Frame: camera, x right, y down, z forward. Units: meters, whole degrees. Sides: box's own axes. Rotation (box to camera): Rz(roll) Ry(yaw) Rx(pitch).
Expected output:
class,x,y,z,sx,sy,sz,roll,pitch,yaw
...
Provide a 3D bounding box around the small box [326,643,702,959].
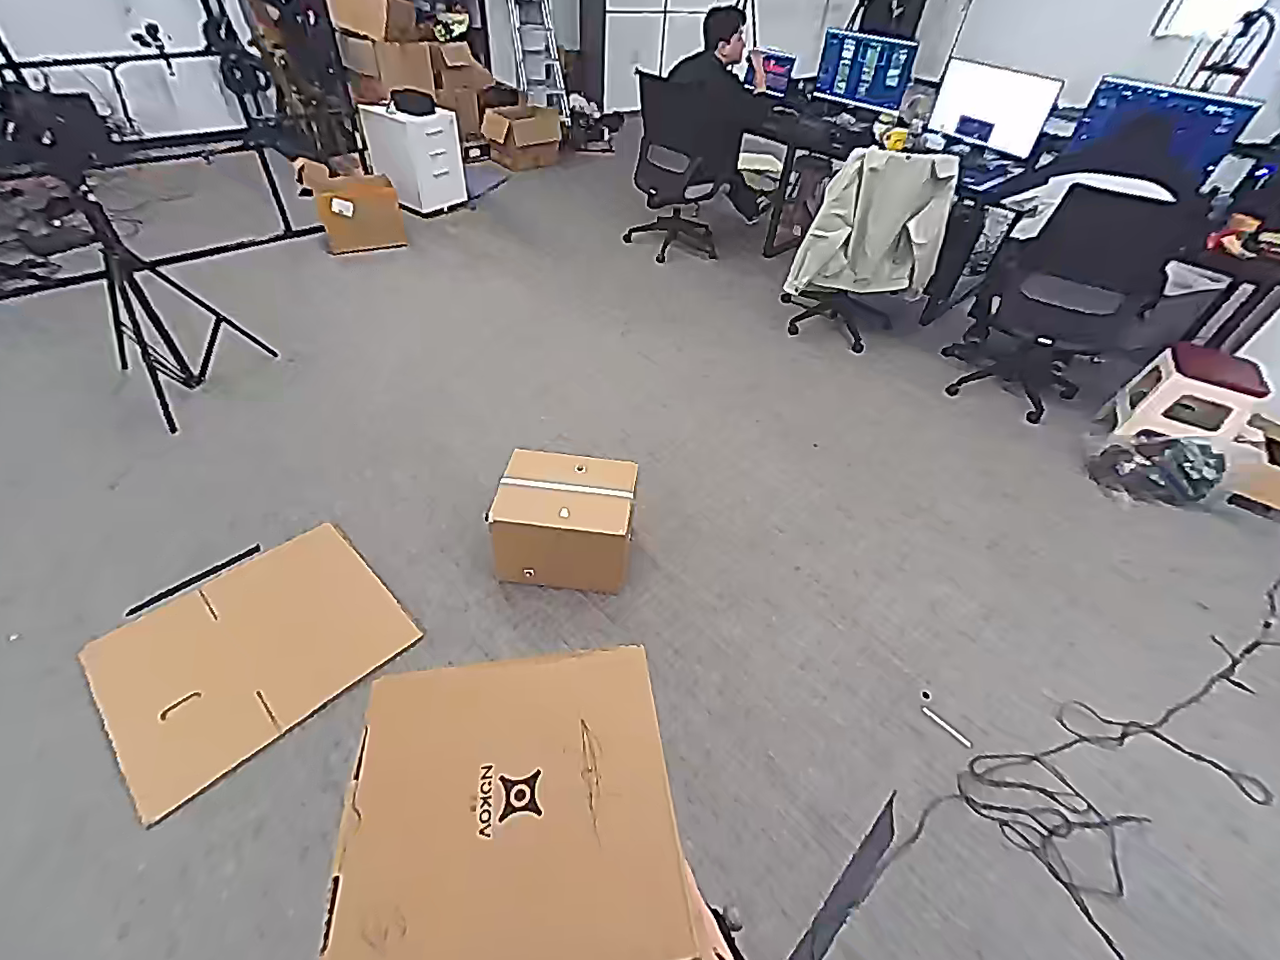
class,x,y,z,sx,sy,sz,roll,pitch,yaw
small box,-0.071,0.232,0.353,0.179,0.176,0.168,-5,45,-10
